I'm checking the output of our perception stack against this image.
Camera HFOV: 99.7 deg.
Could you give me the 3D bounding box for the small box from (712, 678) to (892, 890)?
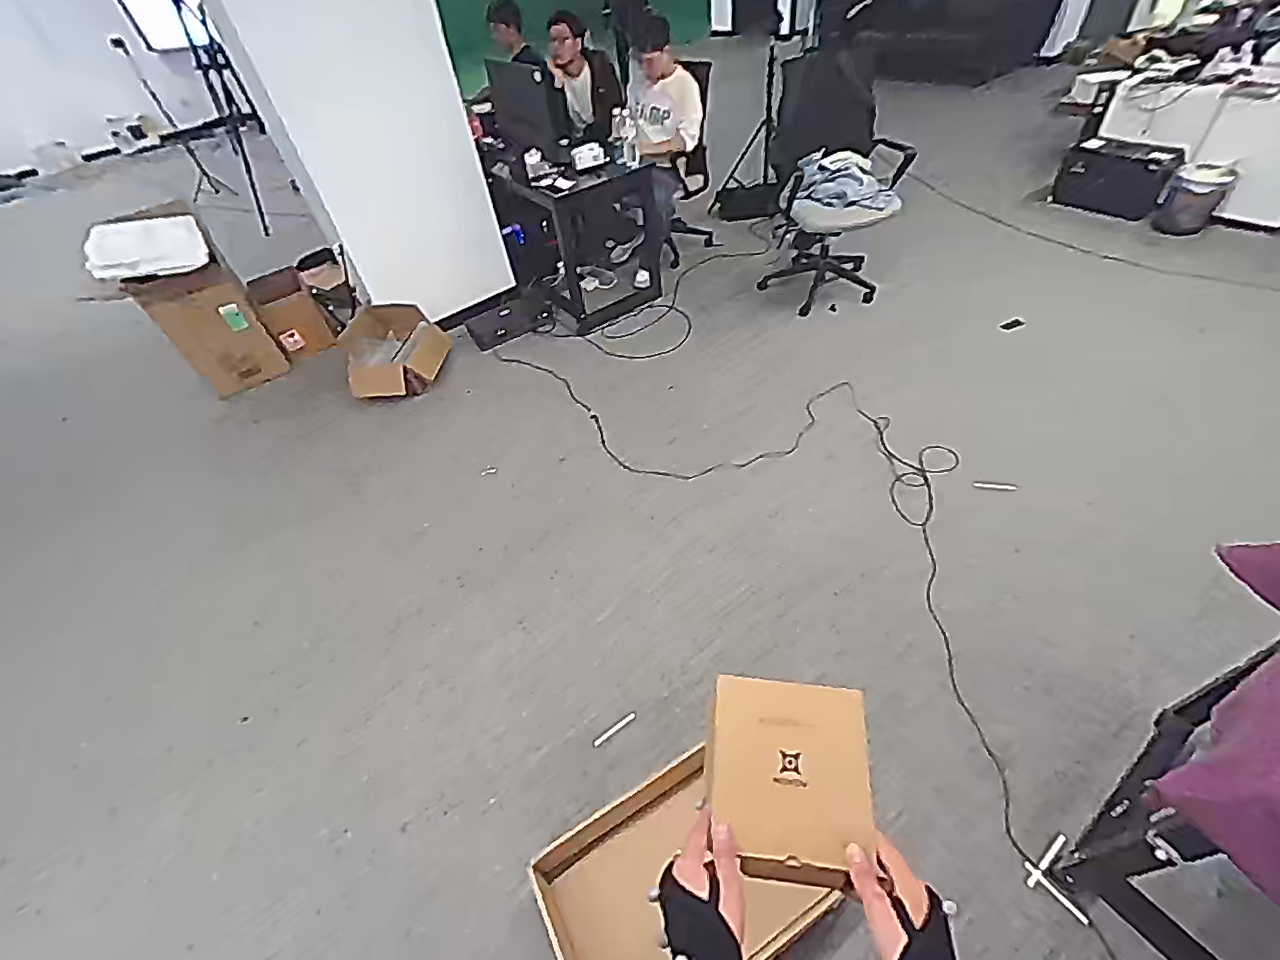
[{"bbox_3d":[0.174,0.348,0.628,0.168,0.176,0.179,5,57,6],"label":"small box"}]
